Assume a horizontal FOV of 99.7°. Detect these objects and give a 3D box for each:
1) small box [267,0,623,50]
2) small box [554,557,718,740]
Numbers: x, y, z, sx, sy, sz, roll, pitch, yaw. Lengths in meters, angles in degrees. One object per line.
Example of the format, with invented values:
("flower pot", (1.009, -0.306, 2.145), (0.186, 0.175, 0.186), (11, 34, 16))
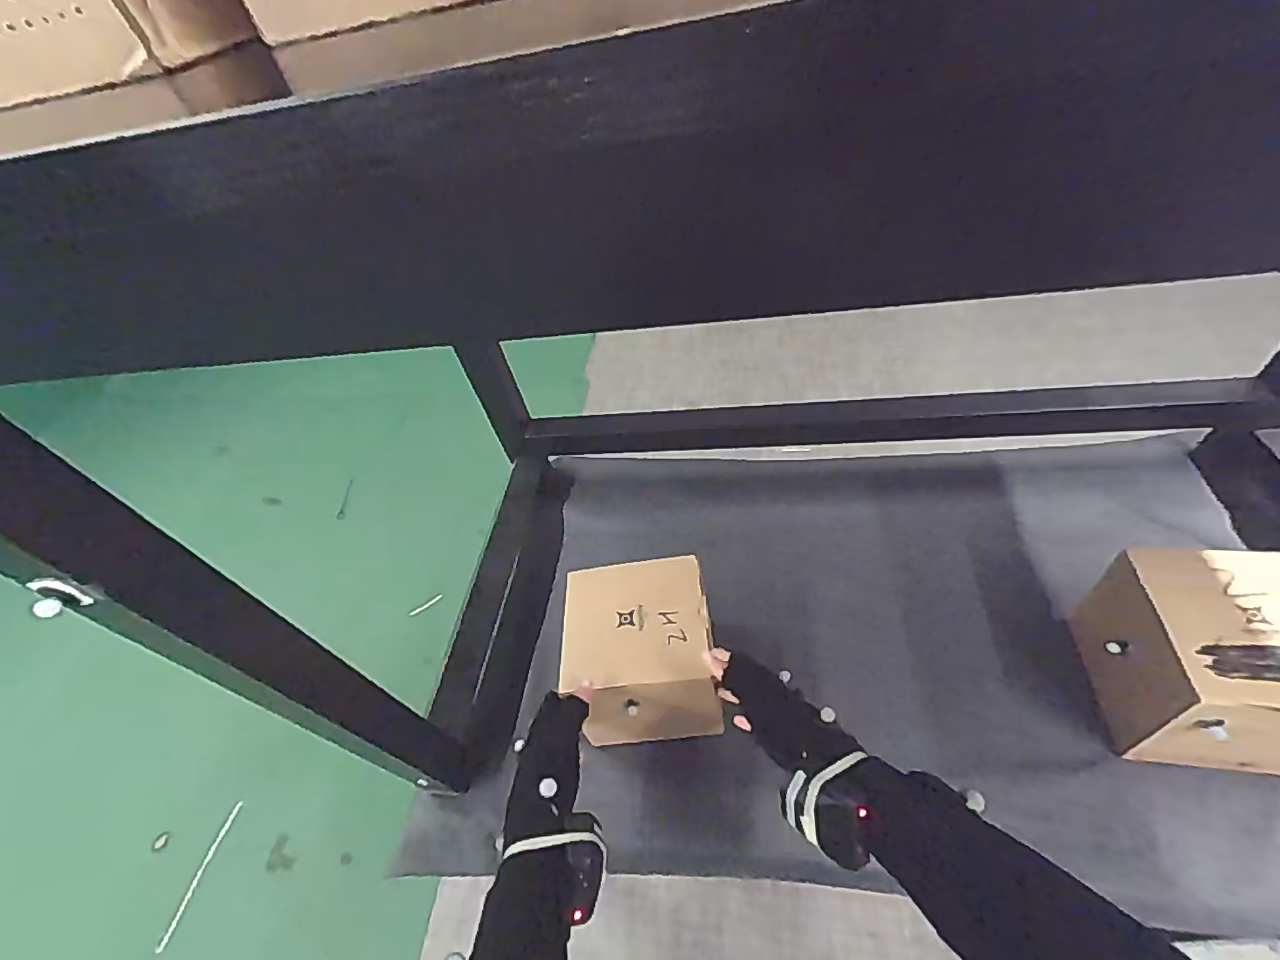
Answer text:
("small box", (-0.045, -0.249, 0.153), (0.168, 0.176, 0.179), (-3, 47, 10))
("small box", (0.001, 0.225, 0.706), (0.179, 0.176, 0.168), (-8, 45, 6))
